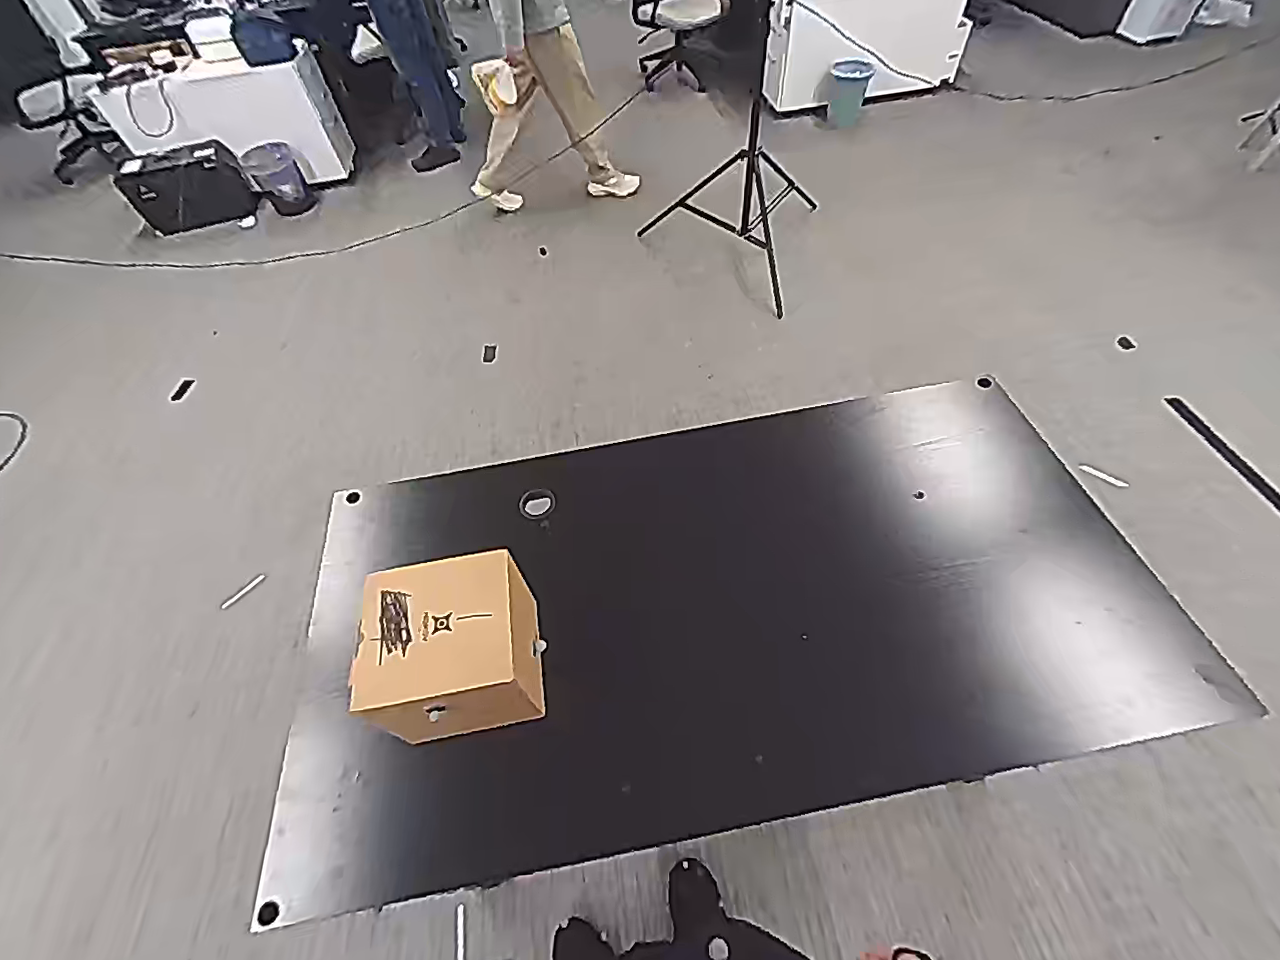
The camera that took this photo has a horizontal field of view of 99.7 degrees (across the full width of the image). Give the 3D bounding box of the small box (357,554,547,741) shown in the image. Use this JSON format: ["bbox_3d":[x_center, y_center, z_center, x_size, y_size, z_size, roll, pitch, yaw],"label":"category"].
[{"bbox_3d":[-0.227,0.220,0.693,0.179,0.176,0.168,-10,54,-4],"label":"small box"}]
